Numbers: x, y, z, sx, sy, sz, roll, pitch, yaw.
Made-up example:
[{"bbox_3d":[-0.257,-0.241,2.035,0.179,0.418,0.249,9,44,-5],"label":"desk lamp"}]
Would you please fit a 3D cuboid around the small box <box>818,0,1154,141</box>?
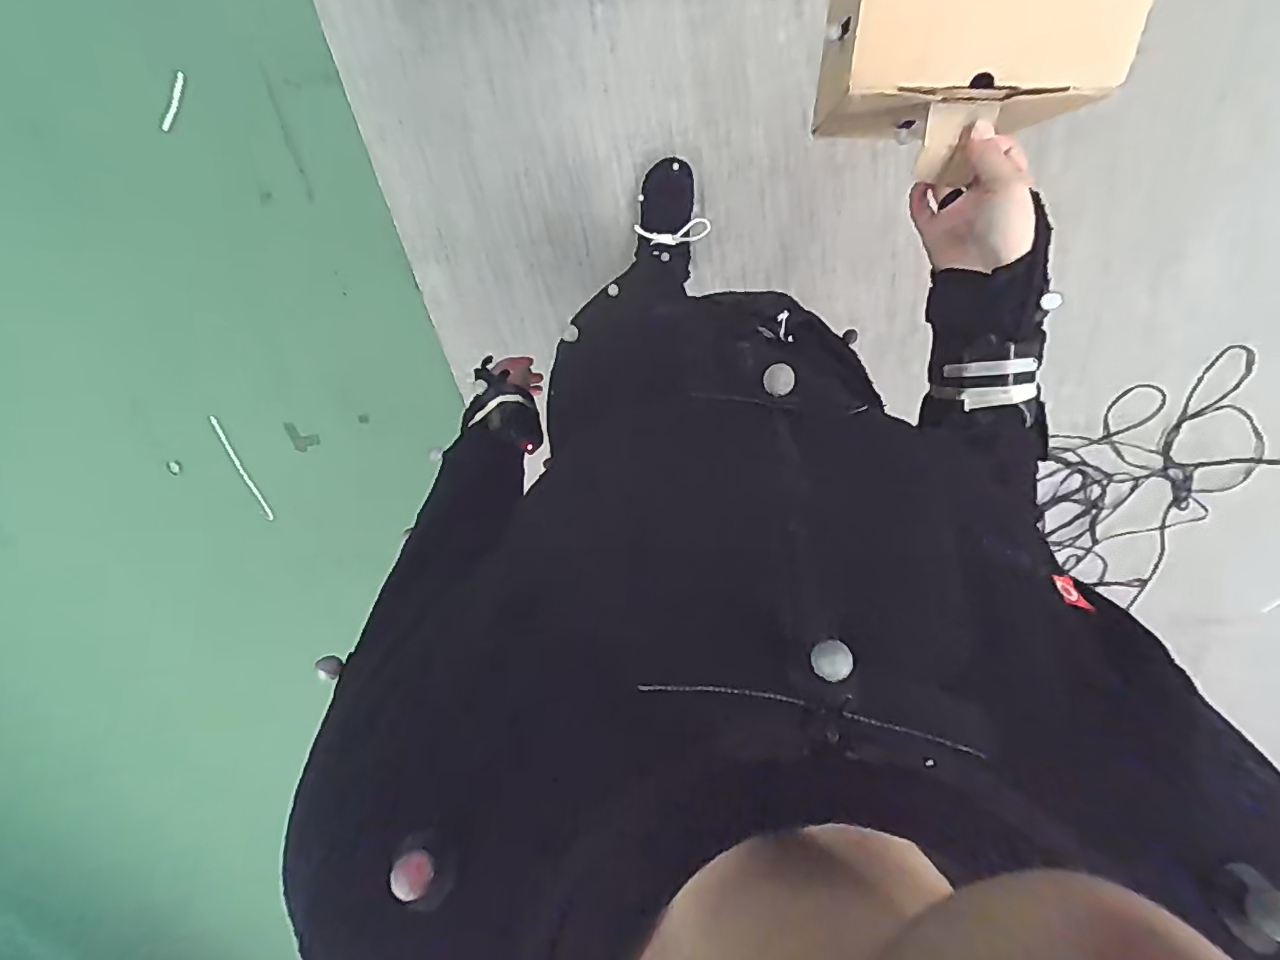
[{"bbox_3d":[0.230,-0.356,0.379,0.168,0.176,0.179,5,115,7],"label":"small box"}]
